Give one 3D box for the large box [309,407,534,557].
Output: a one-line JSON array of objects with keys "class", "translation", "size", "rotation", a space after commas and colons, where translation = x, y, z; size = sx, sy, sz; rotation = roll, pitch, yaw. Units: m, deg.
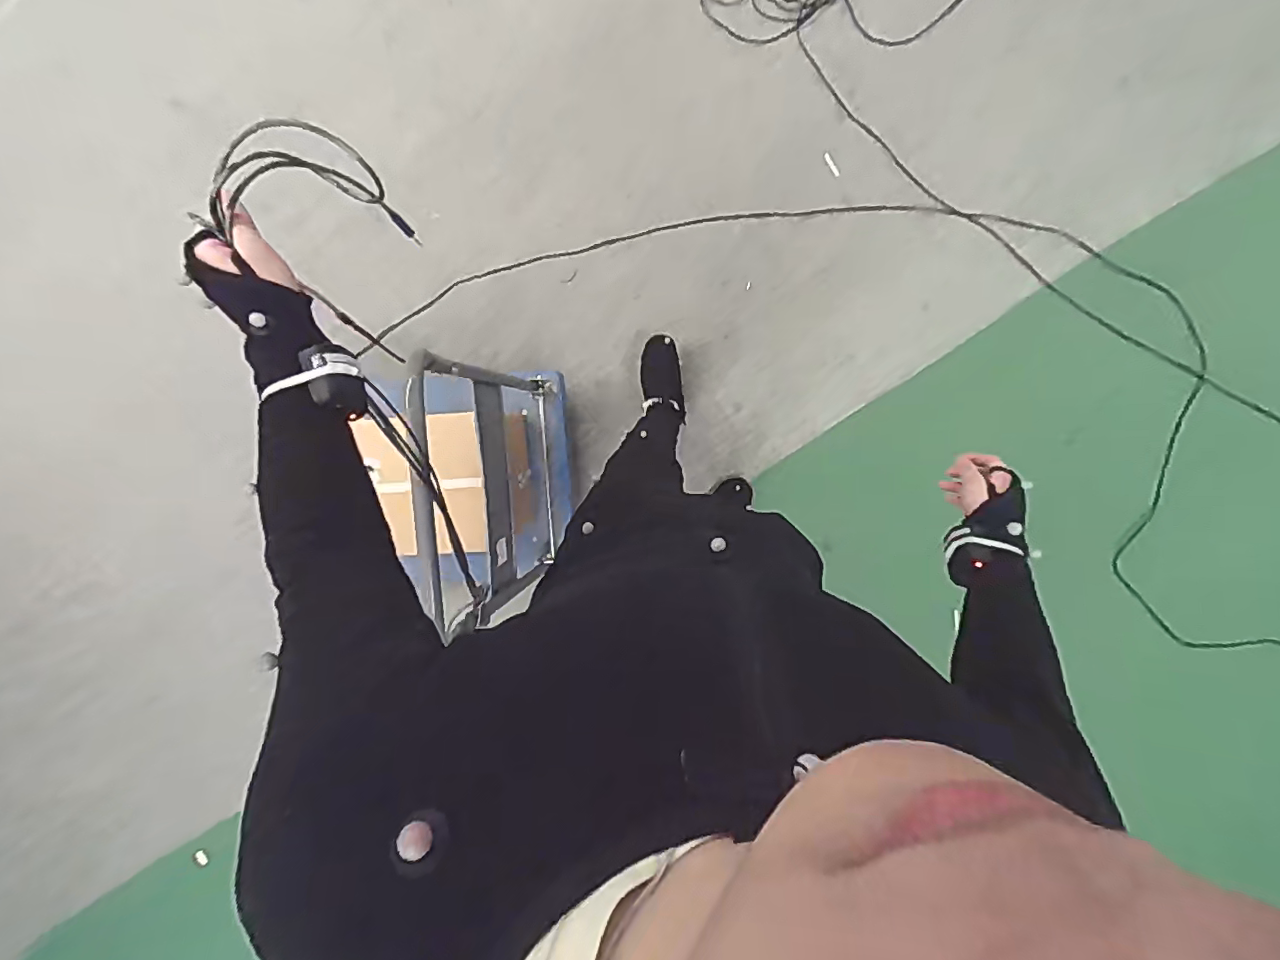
[{"class": "large box", "translation": [-0.516, -0.008, 1.347], "size": [0.408, 0.320, 0.320], "rotation": [-4, 96, 7]}]
